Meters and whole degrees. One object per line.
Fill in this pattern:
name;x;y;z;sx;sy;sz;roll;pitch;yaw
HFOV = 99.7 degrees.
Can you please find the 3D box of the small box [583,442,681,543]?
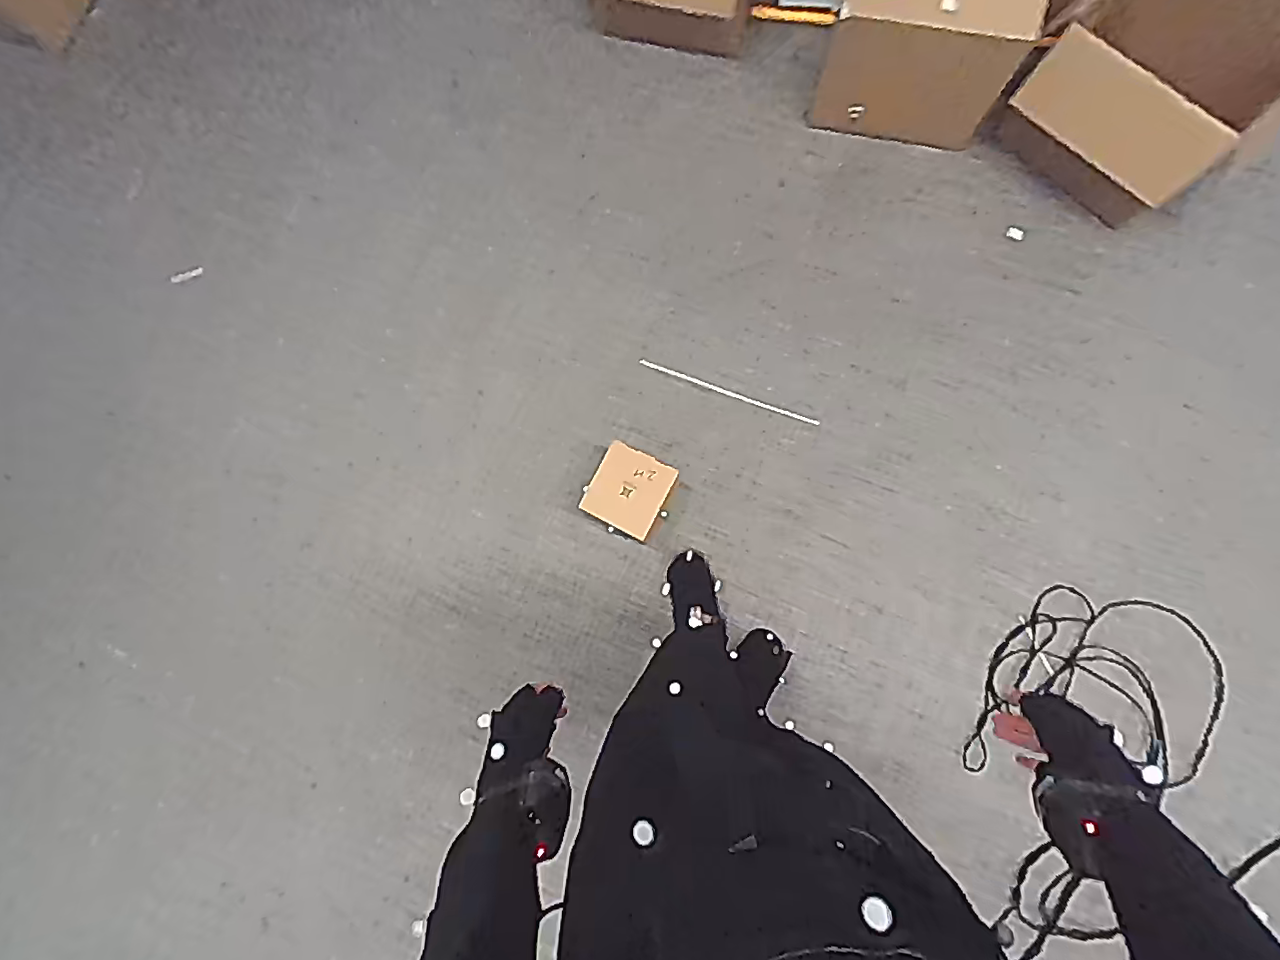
small box;-0.009;0.038;1.264;0.168;0.176;0.179;27;85;8
